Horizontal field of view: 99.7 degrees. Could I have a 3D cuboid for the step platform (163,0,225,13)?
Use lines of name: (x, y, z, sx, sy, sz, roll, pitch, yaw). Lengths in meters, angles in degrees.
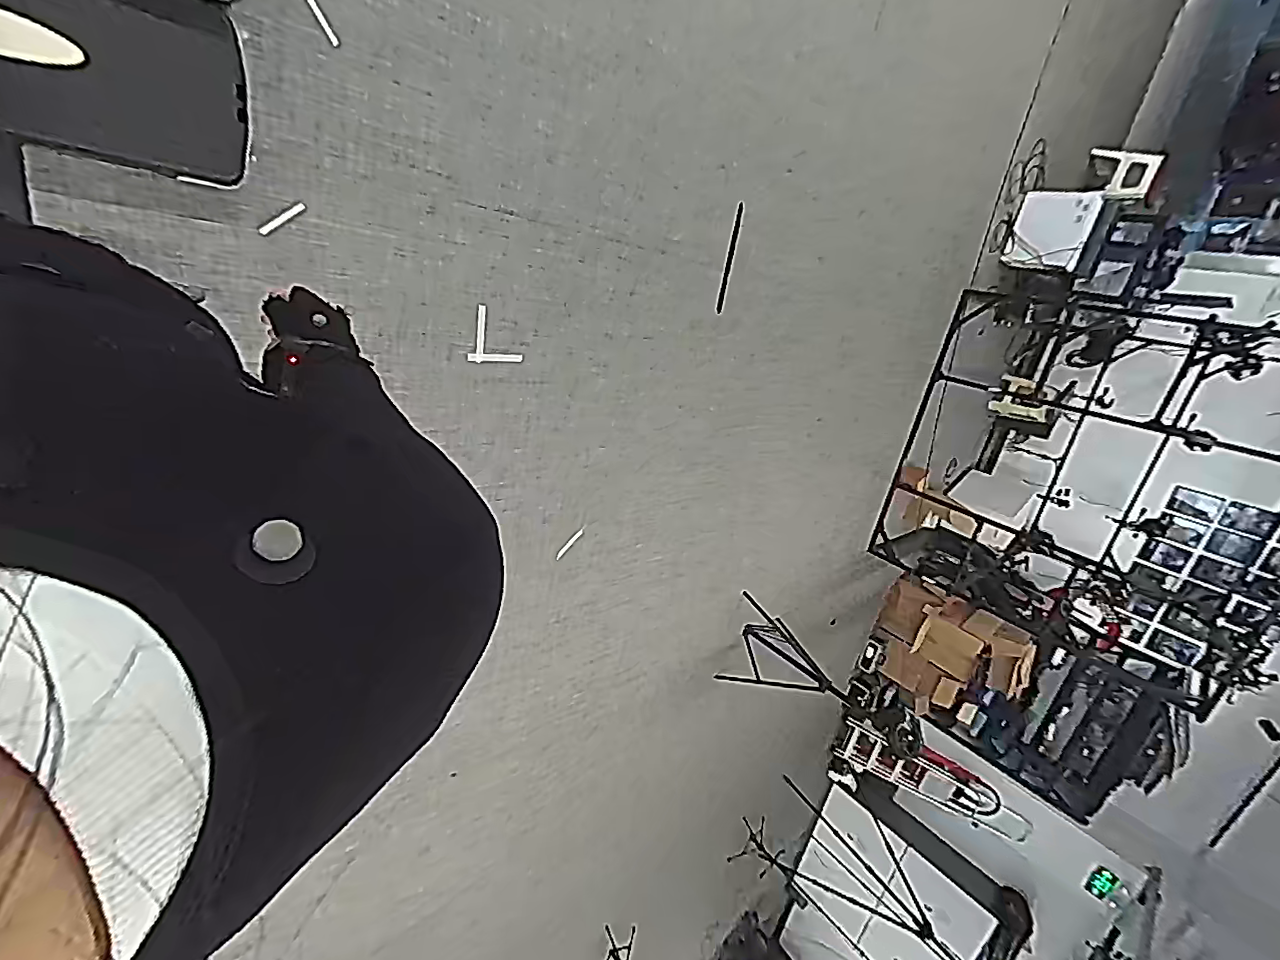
step platform: (-0.914, -0.880, 0.646, 0.684, 0.204, 0.286, -9, 119, -43)
